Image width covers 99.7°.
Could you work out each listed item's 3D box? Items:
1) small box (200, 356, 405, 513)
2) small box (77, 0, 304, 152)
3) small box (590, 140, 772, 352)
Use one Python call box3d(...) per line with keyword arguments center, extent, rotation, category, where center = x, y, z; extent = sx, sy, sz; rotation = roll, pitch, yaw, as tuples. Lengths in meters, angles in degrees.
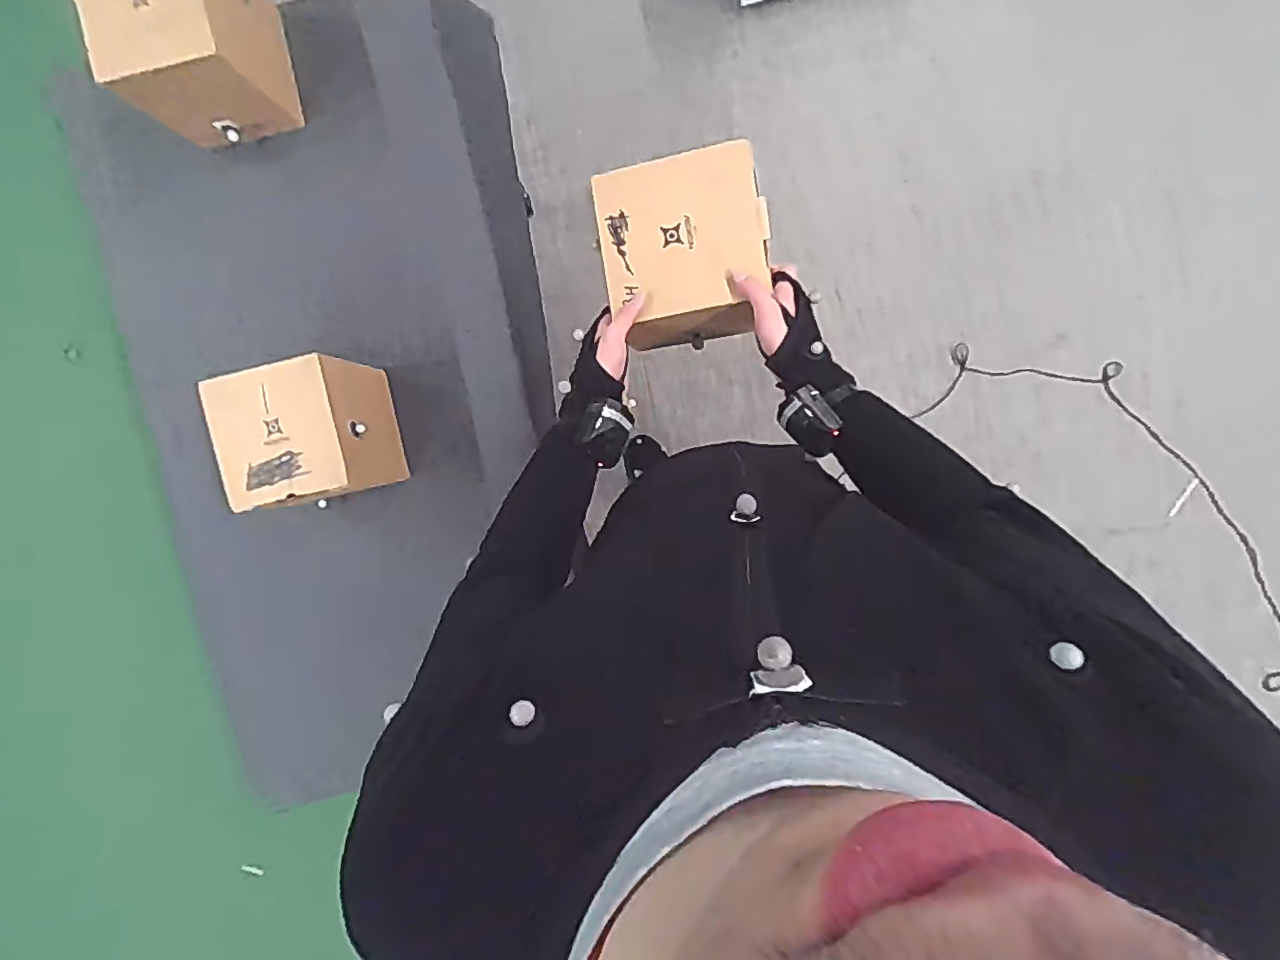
box3d(center=(-0.463, -0.062, 0.770), extent=(0.168, 0.176, 0.179), rotation=(-12, 92, 3), category="small box")
box3d(center=(-0.605, -0.594, 0.741), extent=(0.168, 0.176, 0.179), rotation=(-11, 95, 5), category="small box")
box3d(center=(0.051, -0.262, 0.647), extent=(0.179, 0.176, 0.168), rotation=(-8, 90, 8), category="small box")
